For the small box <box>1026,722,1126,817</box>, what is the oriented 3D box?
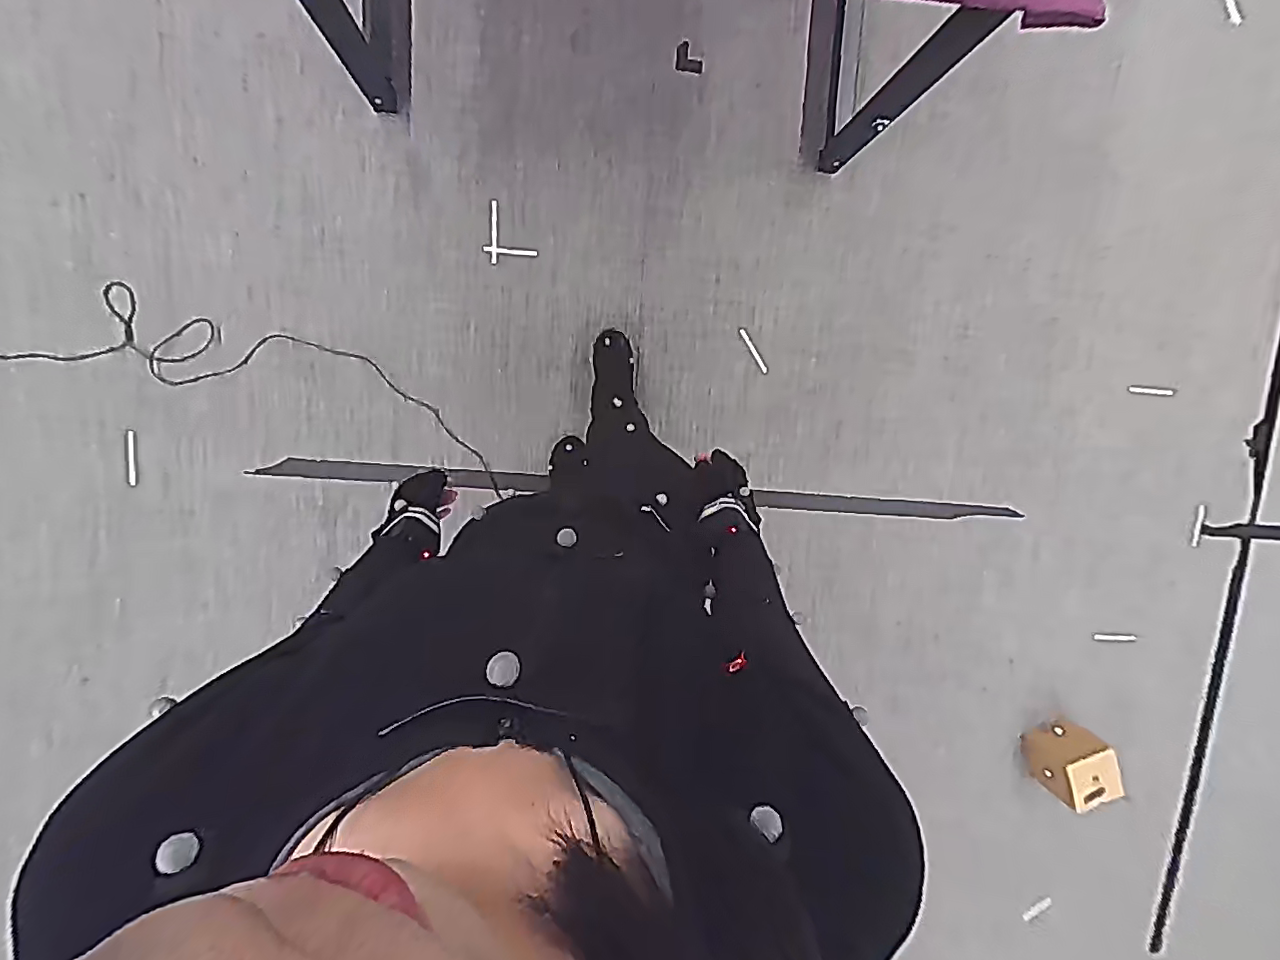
[{"bbox_3d":[1.377,0.913,1.716,0.168,0.176,0.179,-19,99,-4],"label":"small box"}]
